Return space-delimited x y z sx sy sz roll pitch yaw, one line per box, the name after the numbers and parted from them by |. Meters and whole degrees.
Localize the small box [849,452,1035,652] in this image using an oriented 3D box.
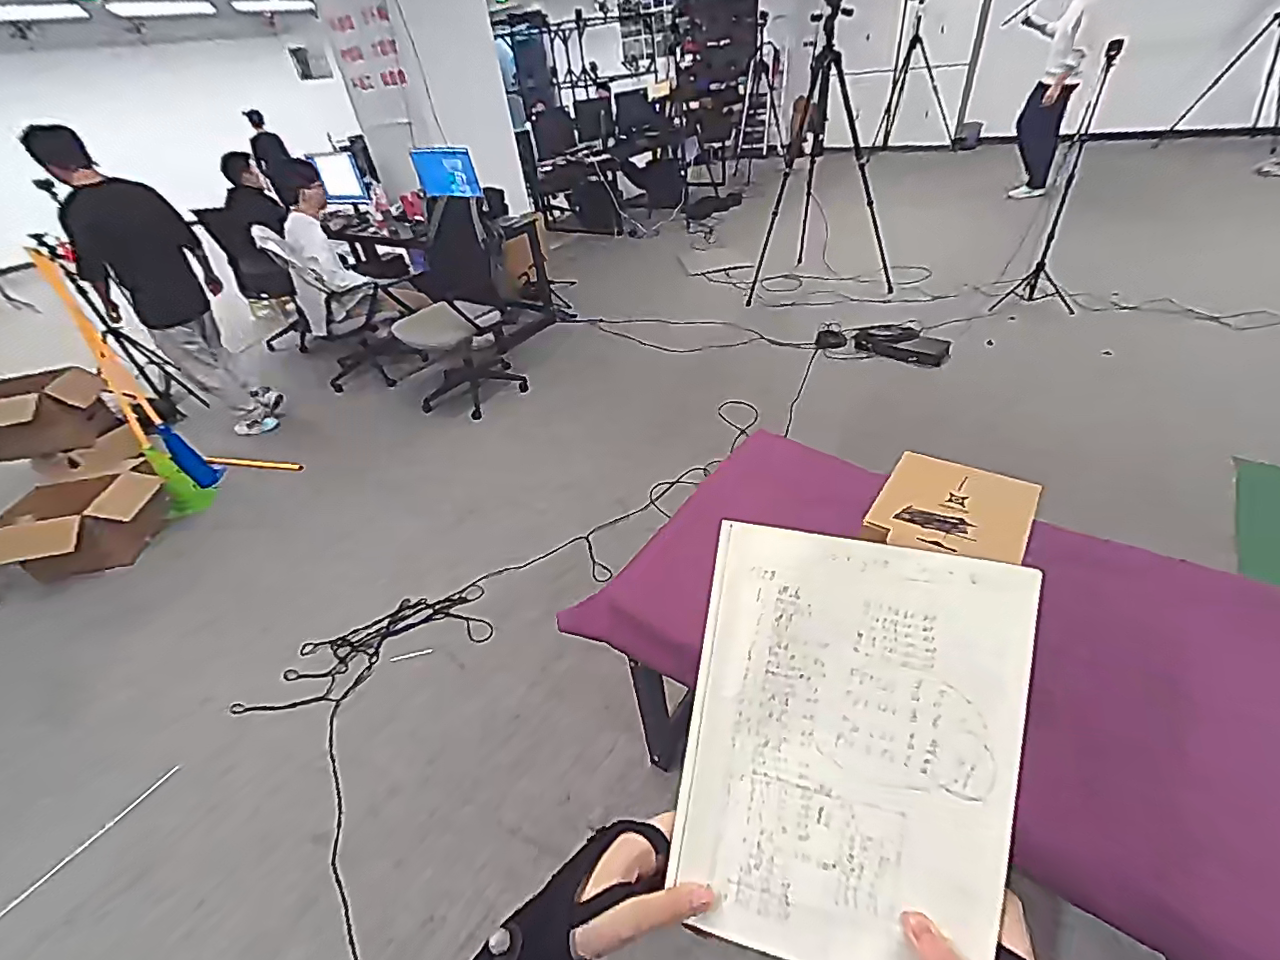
0.395 0.094 0.725 0.168 0.176 0.179 21 45 32 | small box

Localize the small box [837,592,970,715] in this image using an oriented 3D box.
0.416 0.220 0.831 0.168 0.176 0.179 21 47 31 | small box
